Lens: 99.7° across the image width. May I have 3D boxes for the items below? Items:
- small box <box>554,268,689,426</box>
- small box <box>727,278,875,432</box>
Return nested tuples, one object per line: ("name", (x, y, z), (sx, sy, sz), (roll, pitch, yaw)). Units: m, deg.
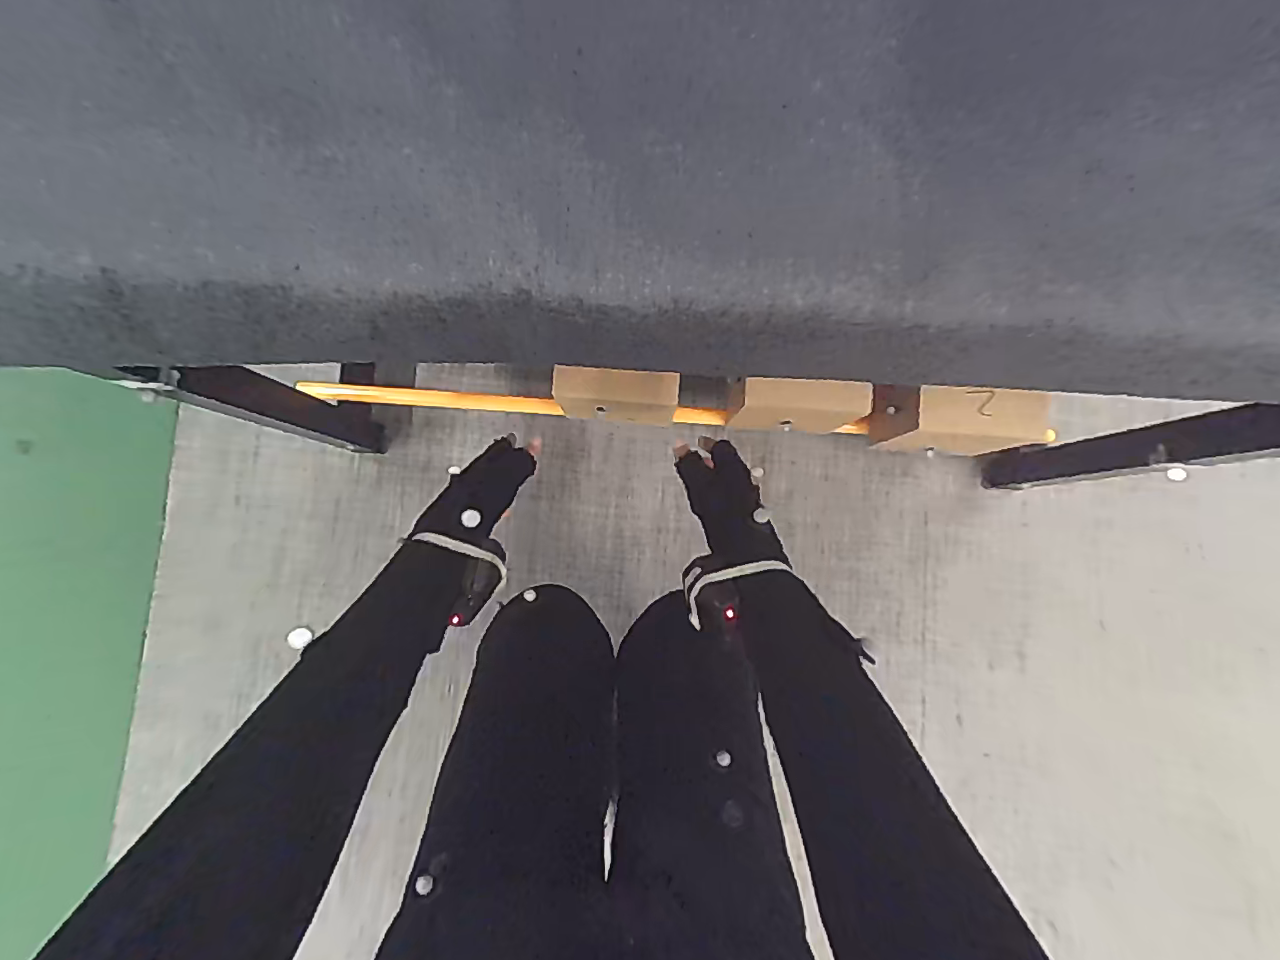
("small box", (-0.023, -0.180, 0.784), (0.168, 0.176, 0.179), (5, 85, 0))
("small box", (0.222, -0.169, 0.783), (0.168, 0.176, 0.179), (3, 85, 0))
